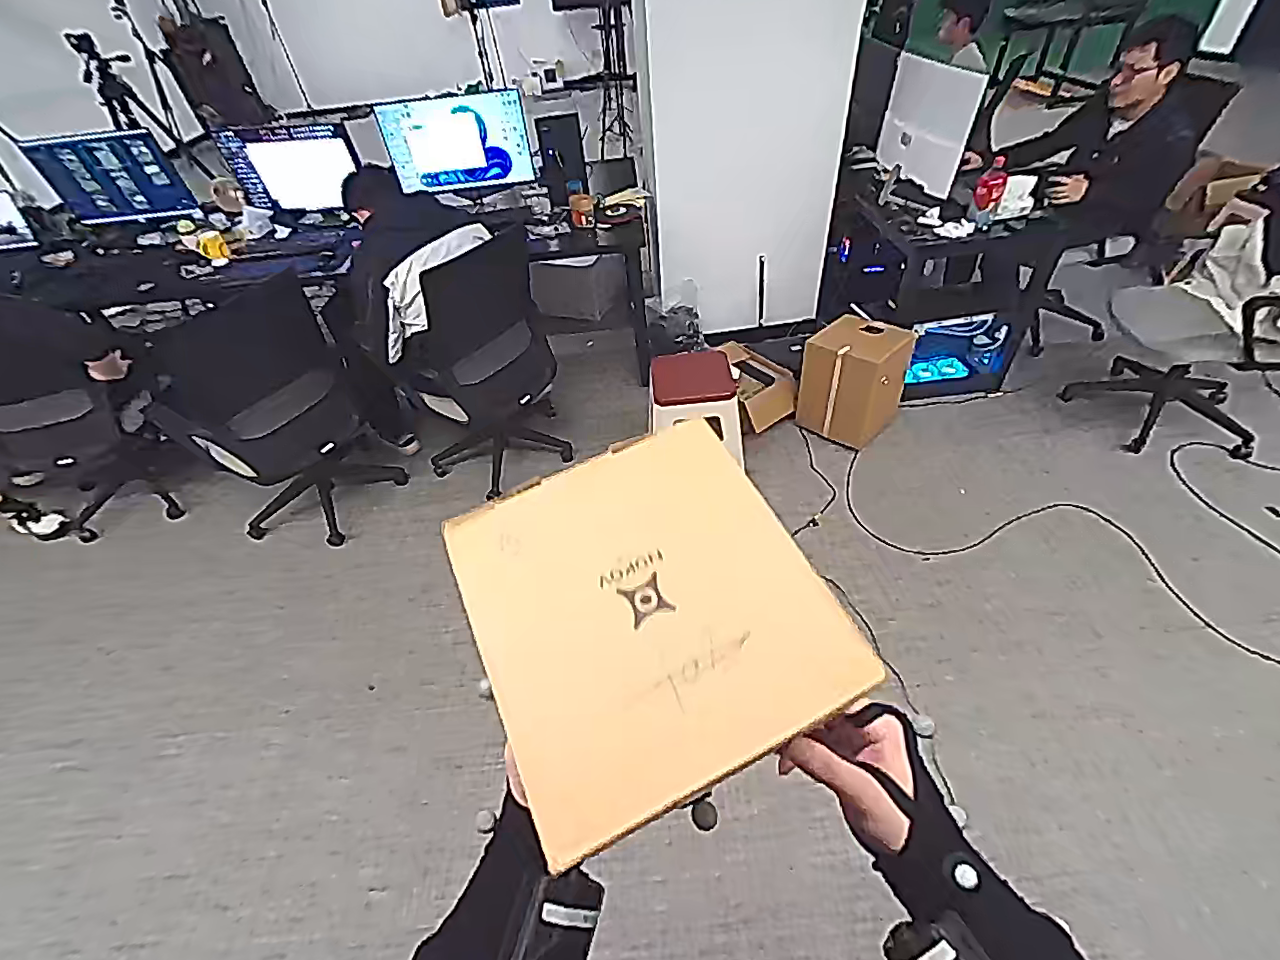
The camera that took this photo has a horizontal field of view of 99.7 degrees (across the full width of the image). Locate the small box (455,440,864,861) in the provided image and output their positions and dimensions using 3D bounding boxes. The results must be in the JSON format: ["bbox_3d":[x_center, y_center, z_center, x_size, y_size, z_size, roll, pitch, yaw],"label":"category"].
[{"bbox_3d":[0.003,0.111,0.353,0.168,0.176,0.179,-23,60,-10],"label":"small box"}]
